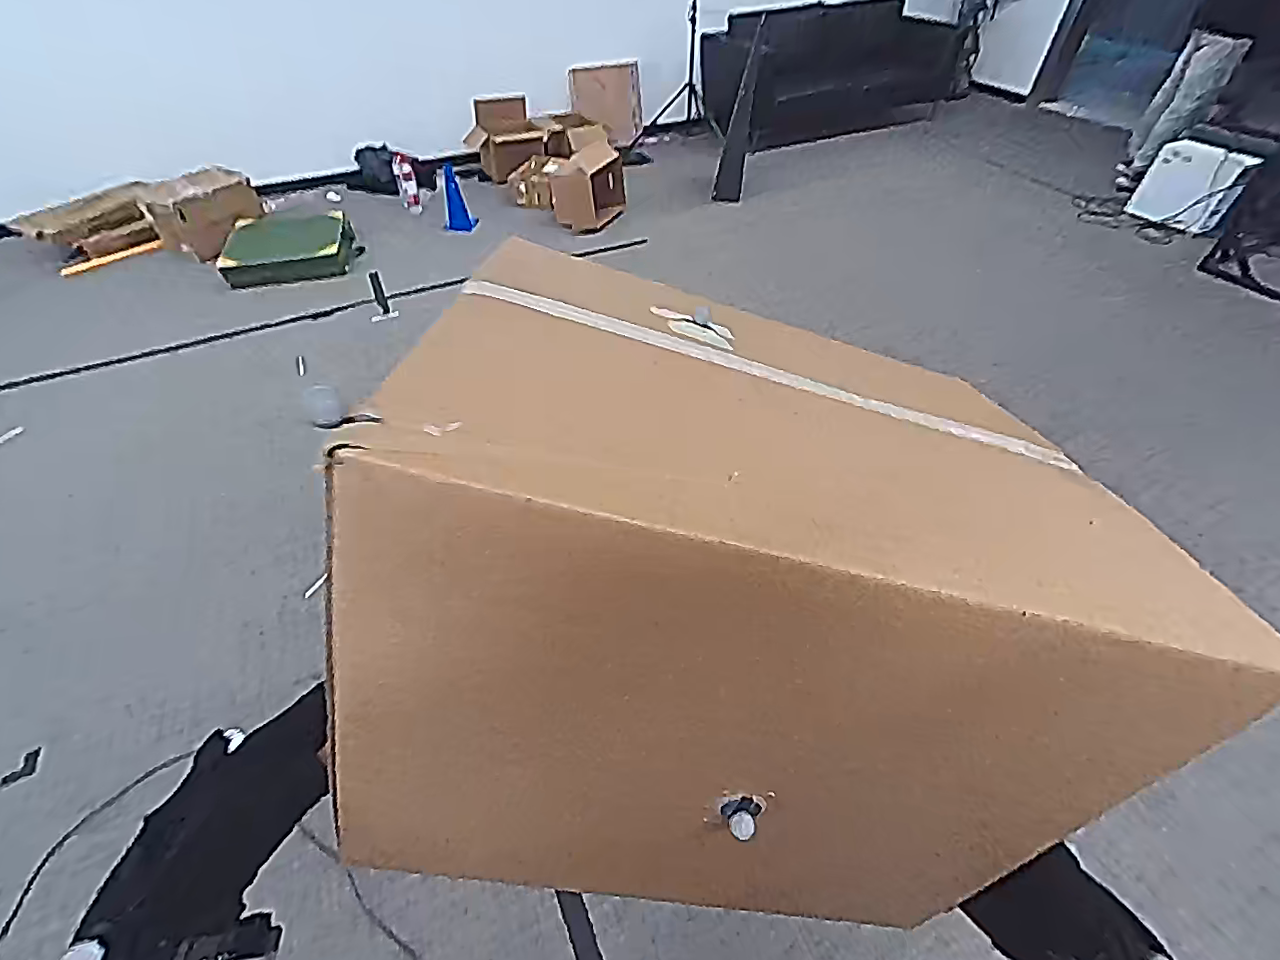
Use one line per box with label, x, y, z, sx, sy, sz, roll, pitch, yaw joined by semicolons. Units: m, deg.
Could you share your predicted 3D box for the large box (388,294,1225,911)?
large box;0.063;0.094;0.438;0.408;0.320;0.320;15;31;-9
